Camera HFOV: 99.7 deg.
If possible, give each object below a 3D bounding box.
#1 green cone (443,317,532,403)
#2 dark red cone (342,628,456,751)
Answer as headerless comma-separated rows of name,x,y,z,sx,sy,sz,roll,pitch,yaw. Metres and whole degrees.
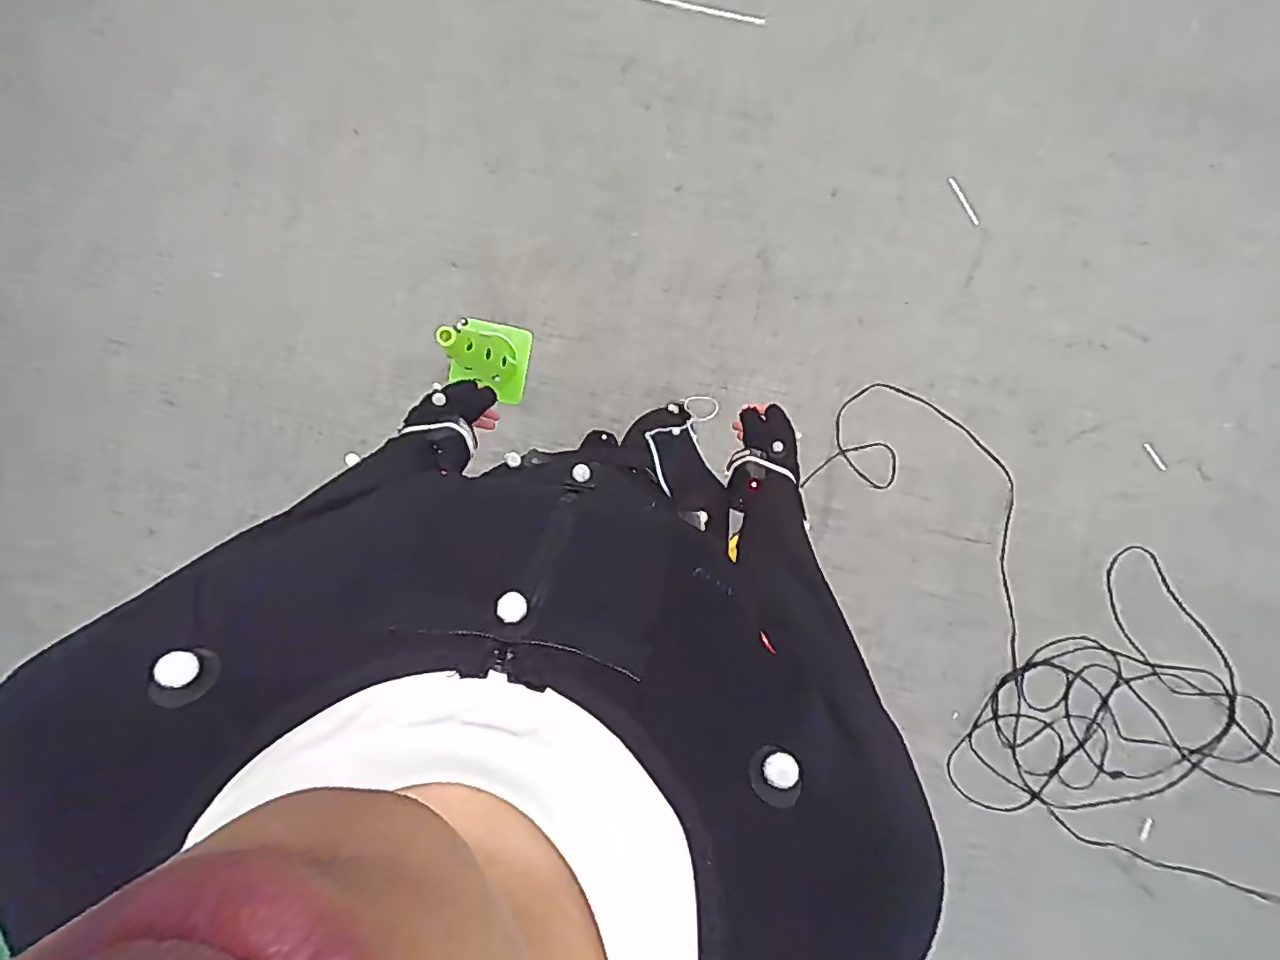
green cone,-0.391,-0.301,1.264,0.202,0.368,0.200,11,95,-3
dark red cone,-0.602,0.519,1.304,0.202,0.394,0.201,7,96,-2
